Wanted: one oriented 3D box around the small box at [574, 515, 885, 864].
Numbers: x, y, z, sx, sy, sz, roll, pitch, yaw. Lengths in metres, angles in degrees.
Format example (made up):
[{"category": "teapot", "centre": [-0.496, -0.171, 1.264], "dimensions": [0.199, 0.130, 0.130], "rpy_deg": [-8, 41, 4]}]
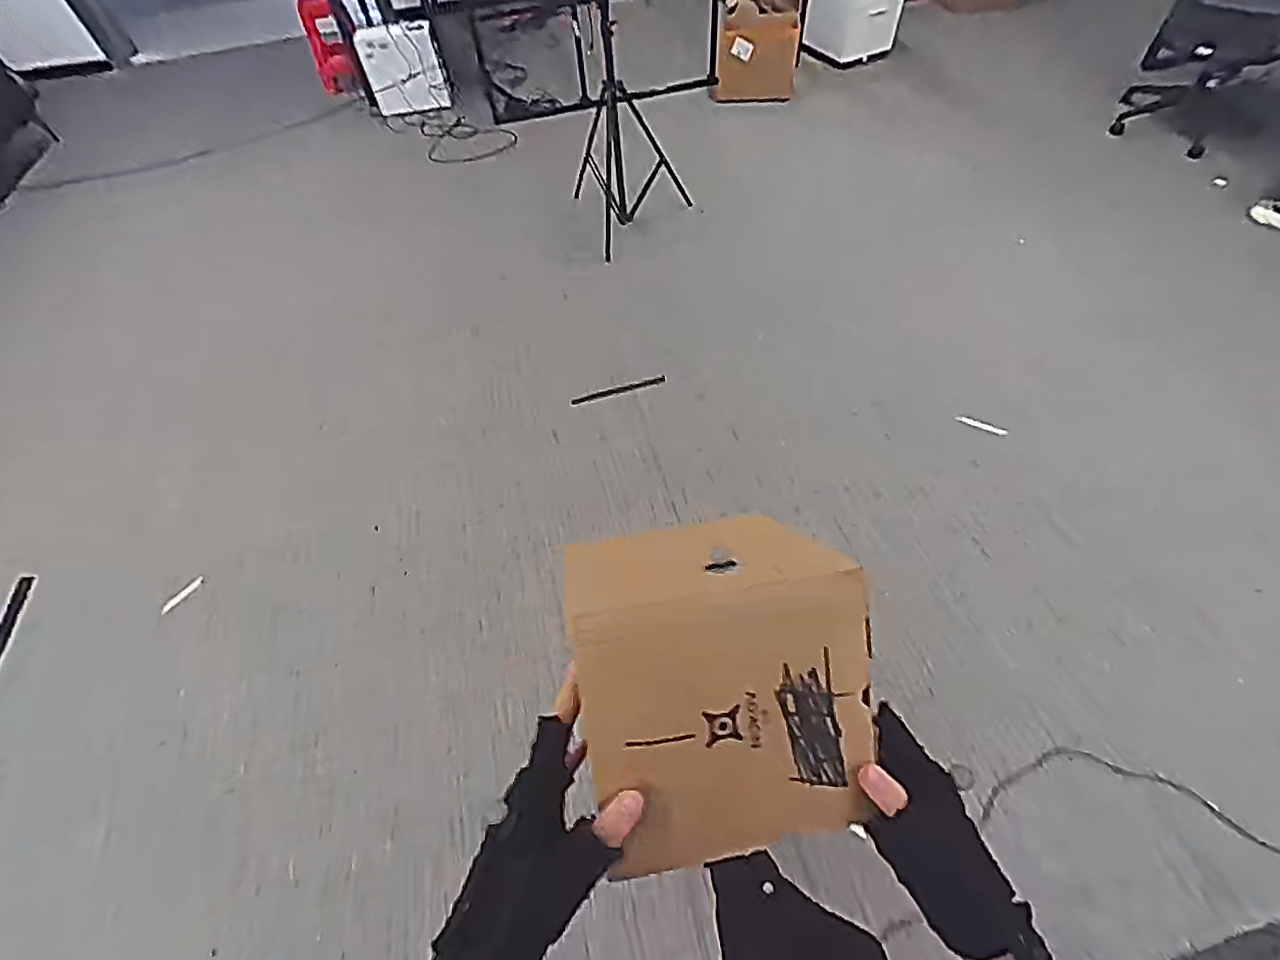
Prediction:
[{"category": "small box", "centre": [0.049, 0.125, 0.395], "dimensions": [0.179, 0.176, 0.168], "rpy_deg": [-7, 96, -8]}]
